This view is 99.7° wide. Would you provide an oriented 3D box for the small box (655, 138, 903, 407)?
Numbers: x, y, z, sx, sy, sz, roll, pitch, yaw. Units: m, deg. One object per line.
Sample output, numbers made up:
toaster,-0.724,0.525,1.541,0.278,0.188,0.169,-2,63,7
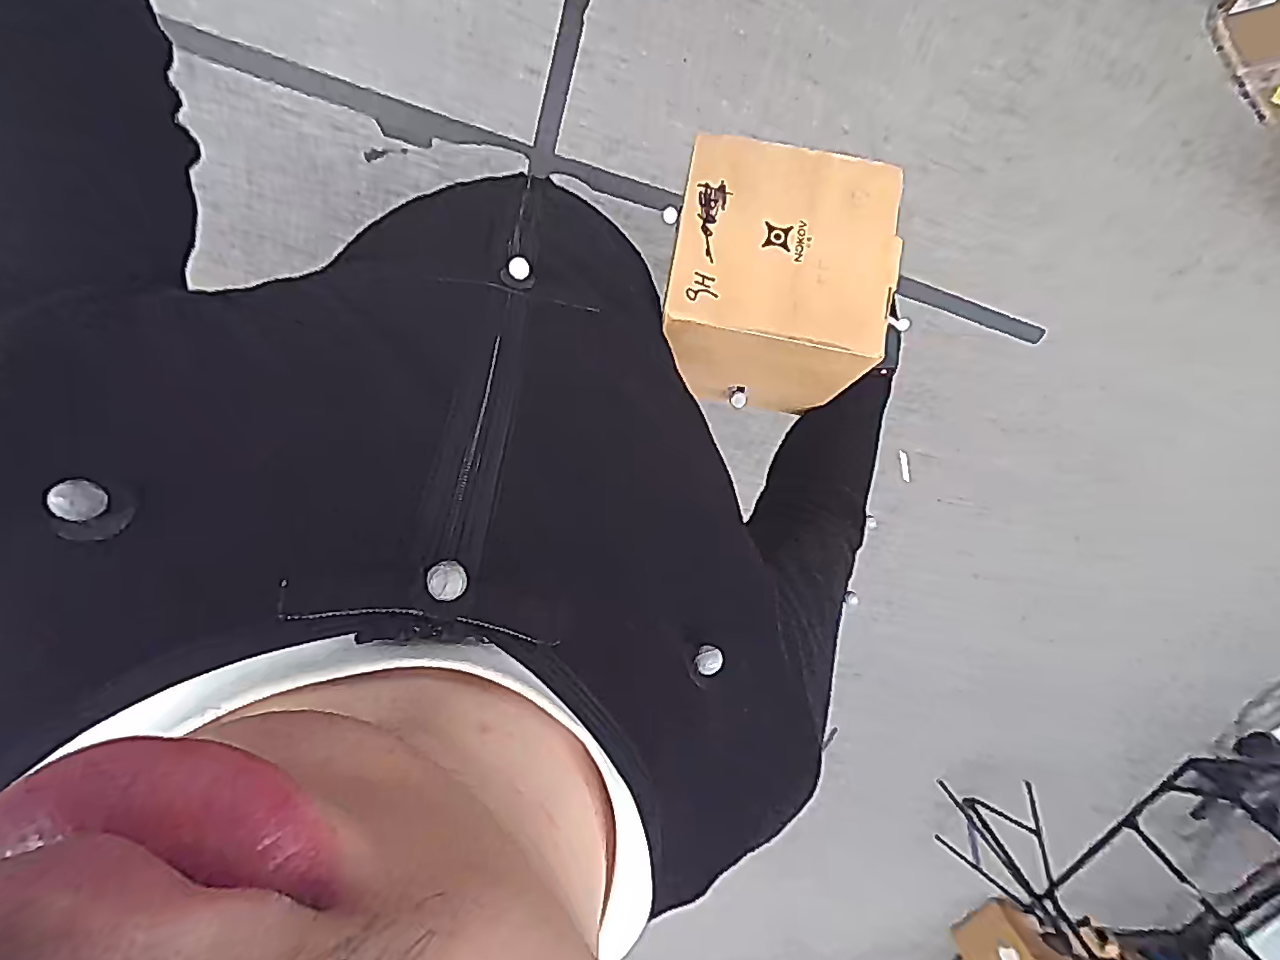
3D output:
small box,0.119,-0.180,0.521,0.179,0.176,0.168,11,80,-1
